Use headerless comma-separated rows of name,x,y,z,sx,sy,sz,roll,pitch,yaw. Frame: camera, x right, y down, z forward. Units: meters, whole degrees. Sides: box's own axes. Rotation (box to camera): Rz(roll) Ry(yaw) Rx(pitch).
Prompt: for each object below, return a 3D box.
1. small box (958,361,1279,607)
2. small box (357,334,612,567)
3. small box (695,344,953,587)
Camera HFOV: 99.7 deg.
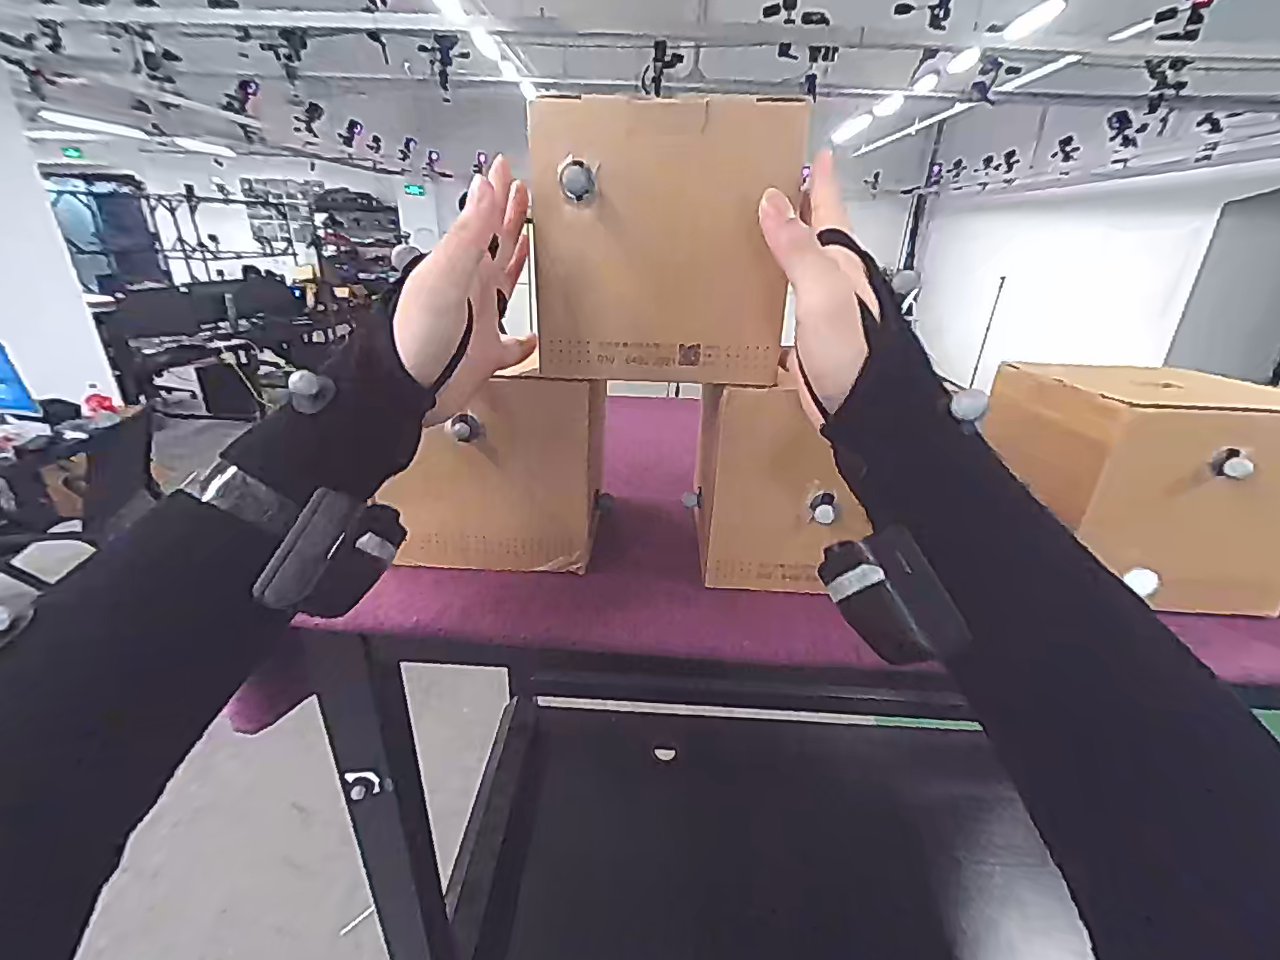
small box,0.422,-0.003,0.479,0.179,0.176,0.168,2,22,2
small box,-0.120,-0.034,0.491,0.179,0.176,0.168,3,23,0
small box,0.141,-0.020,0.486,0.168,0.176,0.179,4,23,1
